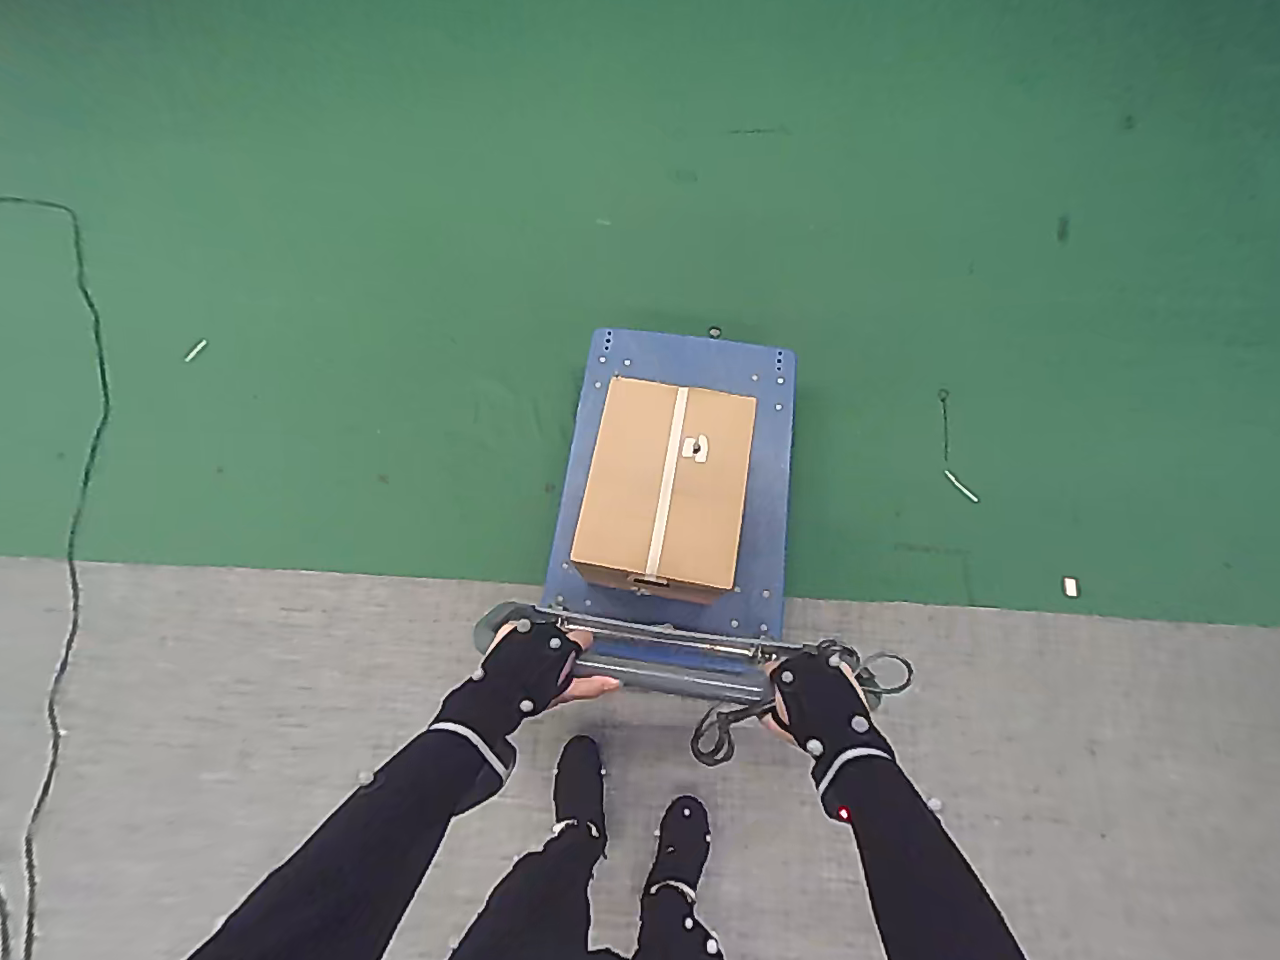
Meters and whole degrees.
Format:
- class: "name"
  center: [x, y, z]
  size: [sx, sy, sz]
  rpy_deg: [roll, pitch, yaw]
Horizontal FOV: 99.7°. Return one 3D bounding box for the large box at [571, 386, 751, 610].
- class: "large box"
  center: [0.052, 0.057, 1.221]
  size: [0.320, 0.320, 0.408]
  rpy_deg: [10, 71, 3]
